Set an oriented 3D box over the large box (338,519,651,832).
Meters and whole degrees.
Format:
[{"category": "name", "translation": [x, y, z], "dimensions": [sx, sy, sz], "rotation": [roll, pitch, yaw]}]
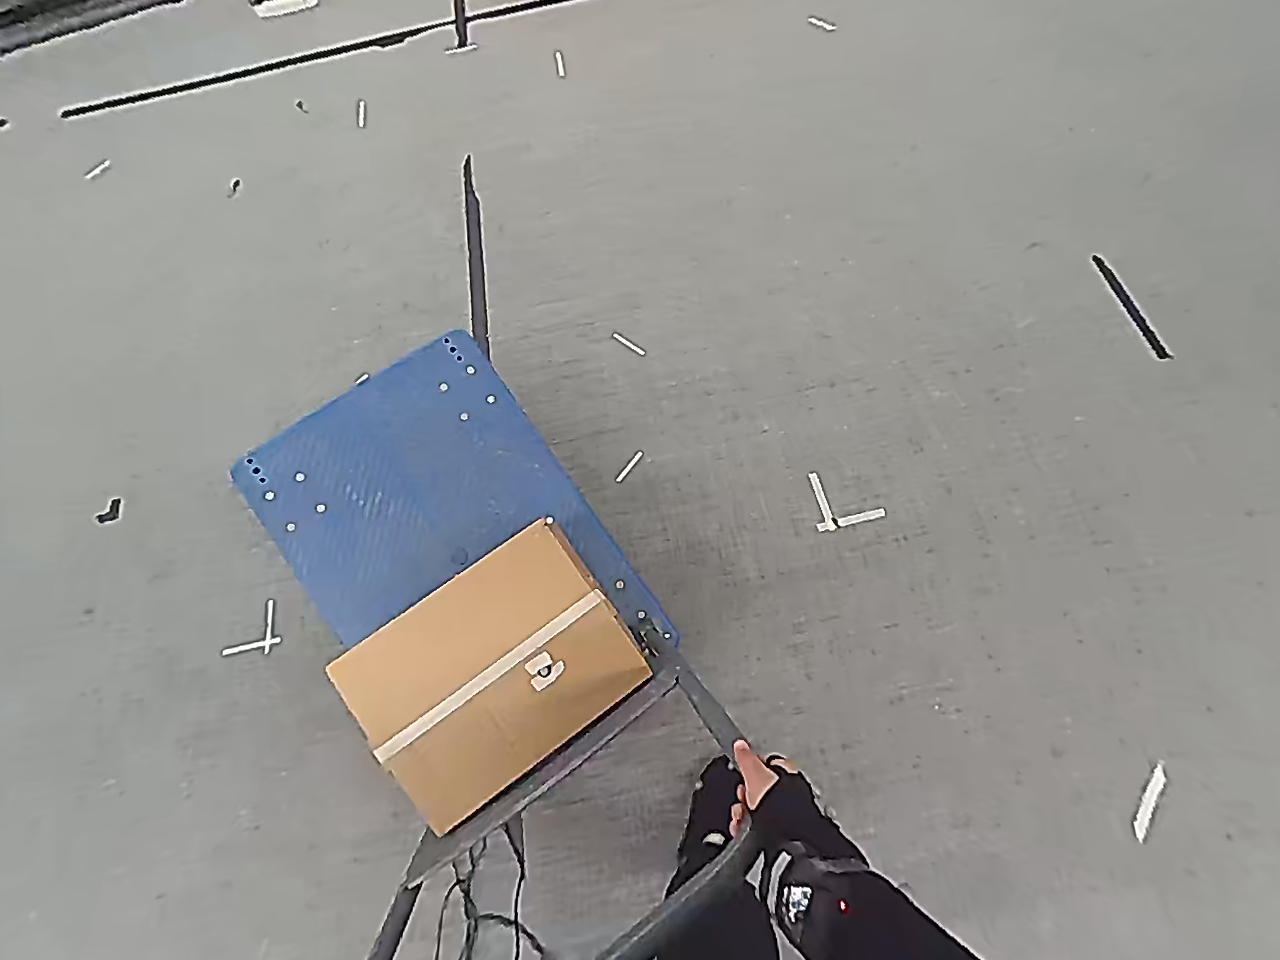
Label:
[{"category": "large box", "translation": [-0.241, 0.322, 1.005], "dimensions": [0.408, 0.320, 0.320], "rotation": [-35, 88, -10]}]
